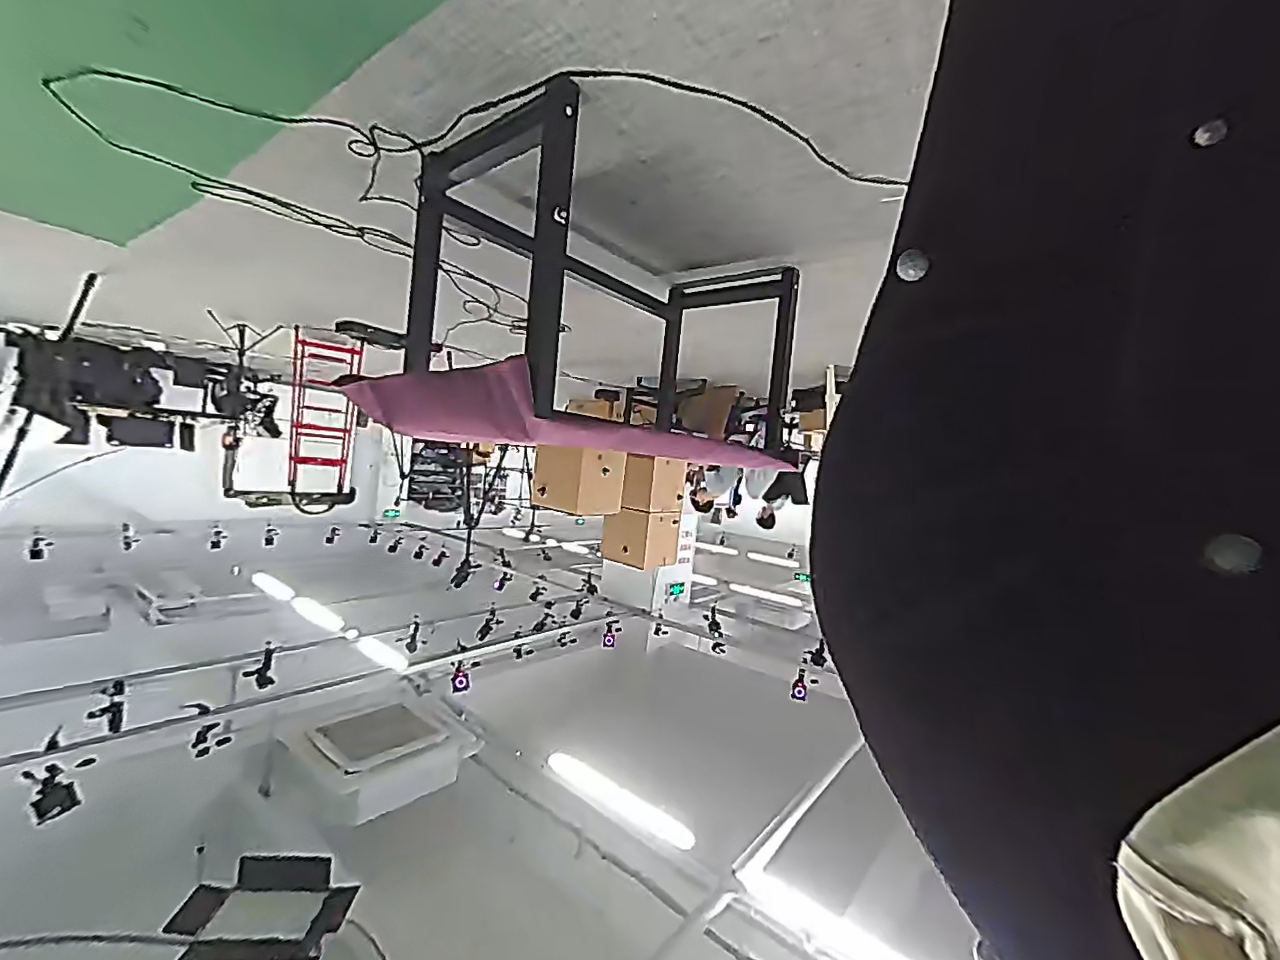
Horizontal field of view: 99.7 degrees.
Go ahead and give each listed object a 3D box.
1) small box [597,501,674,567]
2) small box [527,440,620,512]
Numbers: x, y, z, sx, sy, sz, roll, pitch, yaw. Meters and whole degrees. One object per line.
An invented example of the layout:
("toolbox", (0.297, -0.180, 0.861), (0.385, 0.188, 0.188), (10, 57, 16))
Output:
("small box", (-0.009, 0.158, 1.645), (0.179, 0.176, 0.168), (9, -176, 38))
("small box", (-0.169, -0.013, 1.410), (0.179, 0.176, 0.168), (8, -176, 38))
